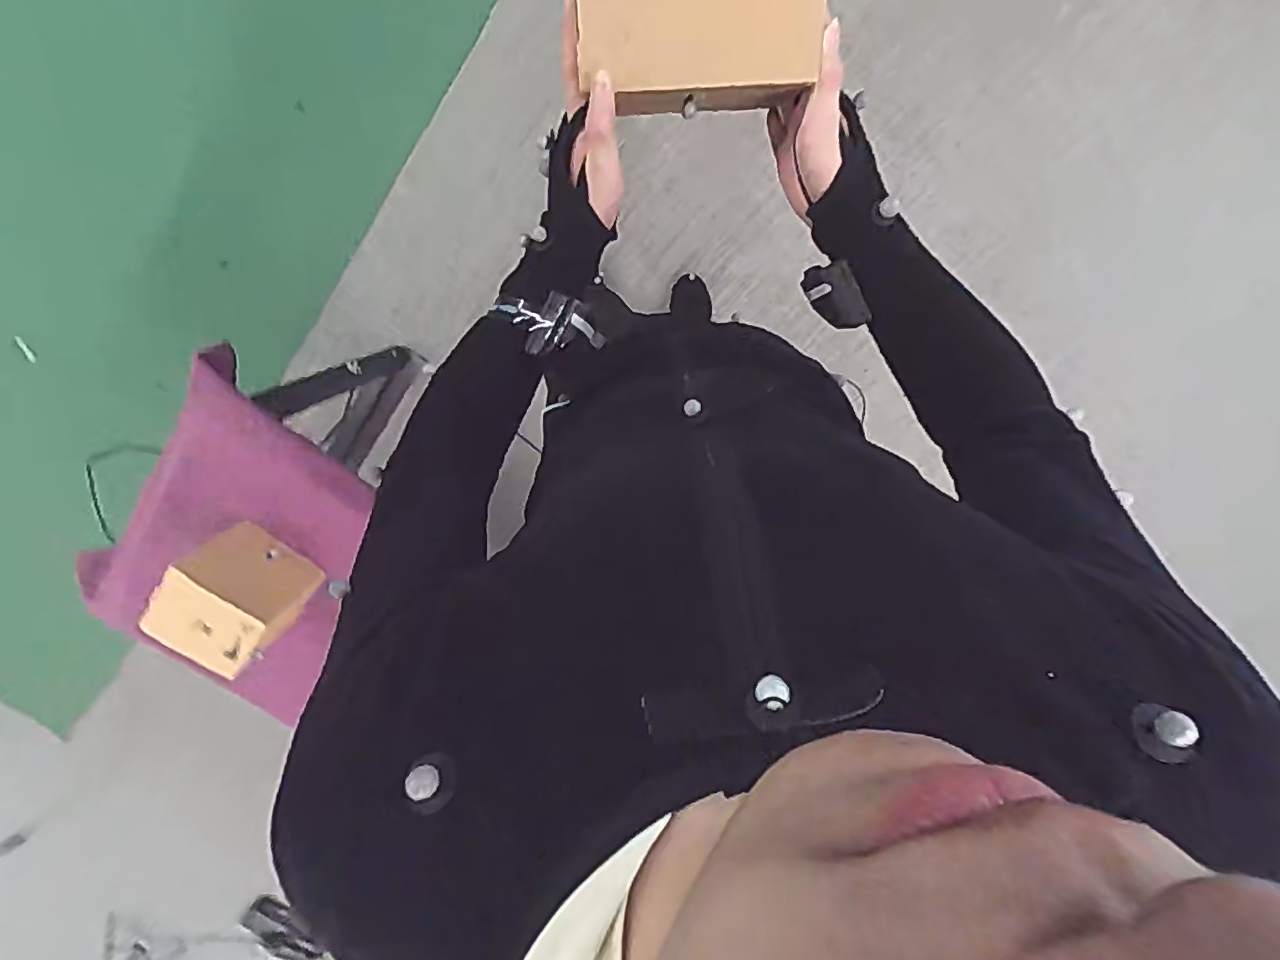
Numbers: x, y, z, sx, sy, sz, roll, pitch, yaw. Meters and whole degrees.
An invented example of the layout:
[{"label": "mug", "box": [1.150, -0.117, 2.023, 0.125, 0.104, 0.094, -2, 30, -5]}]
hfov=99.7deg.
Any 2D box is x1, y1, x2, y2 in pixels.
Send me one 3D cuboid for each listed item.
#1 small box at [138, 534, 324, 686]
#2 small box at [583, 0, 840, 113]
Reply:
[{"label": "small box", "box": [-0.722, 0.222, 0.971, 0.179, 0.176, 0.168, 39, 111, -11]}, {"label": "small box", "box": [0.049, -0.393, 0.419, 0.179, 0.176, 0.168, -1, 119, 1]}]
